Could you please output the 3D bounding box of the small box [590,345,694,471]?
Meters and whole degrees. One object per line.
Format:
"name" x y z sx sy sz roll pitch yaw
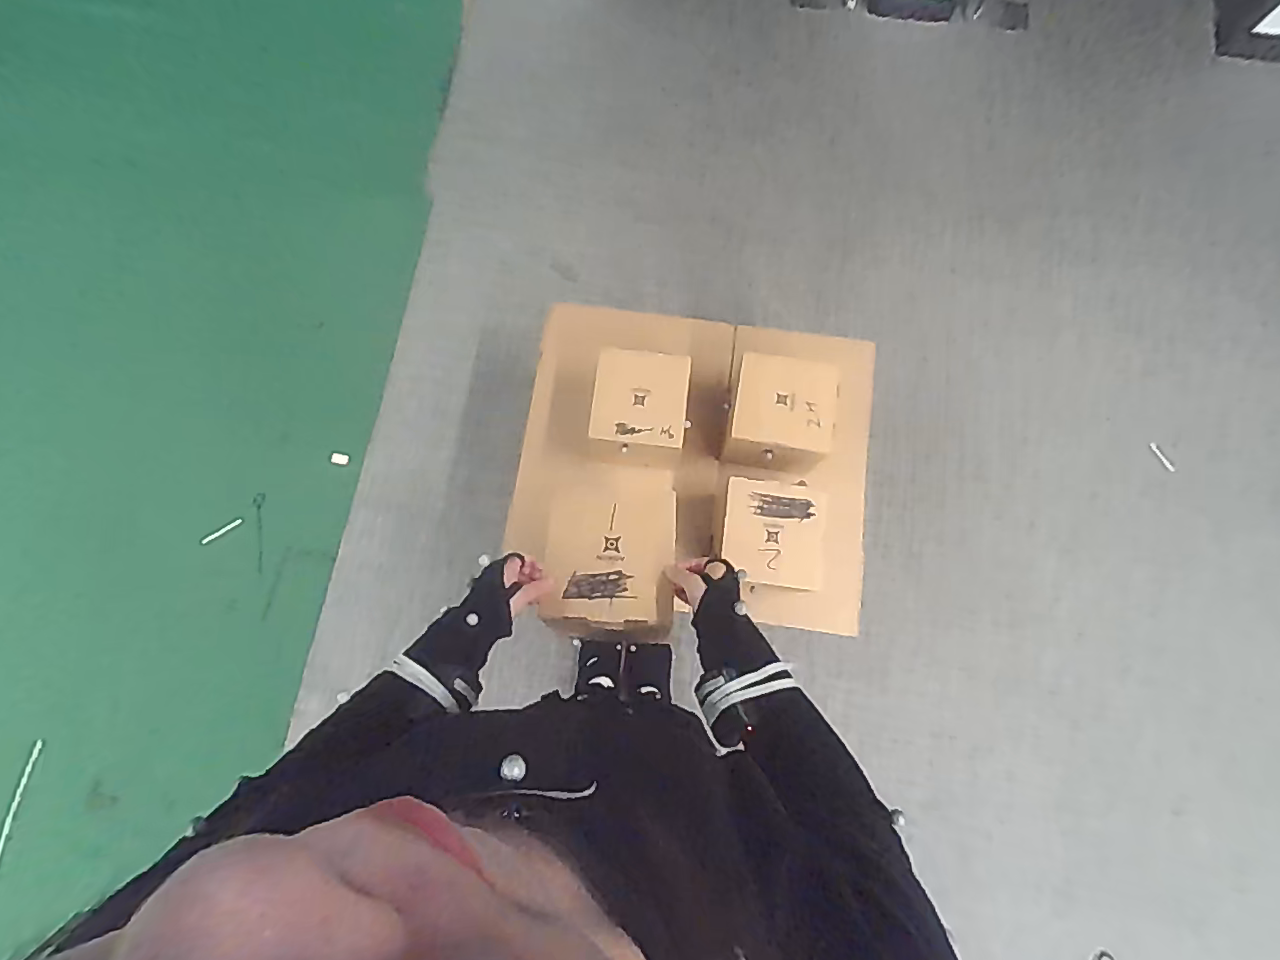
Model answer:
"small box" 0.006 -0.130 1.020 0.168 0.176 0.179 7 77 4

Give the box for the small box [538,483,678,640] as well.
"small box" -0.035 0.120 0.749 0.168 0.176 0.179 3 64 2
